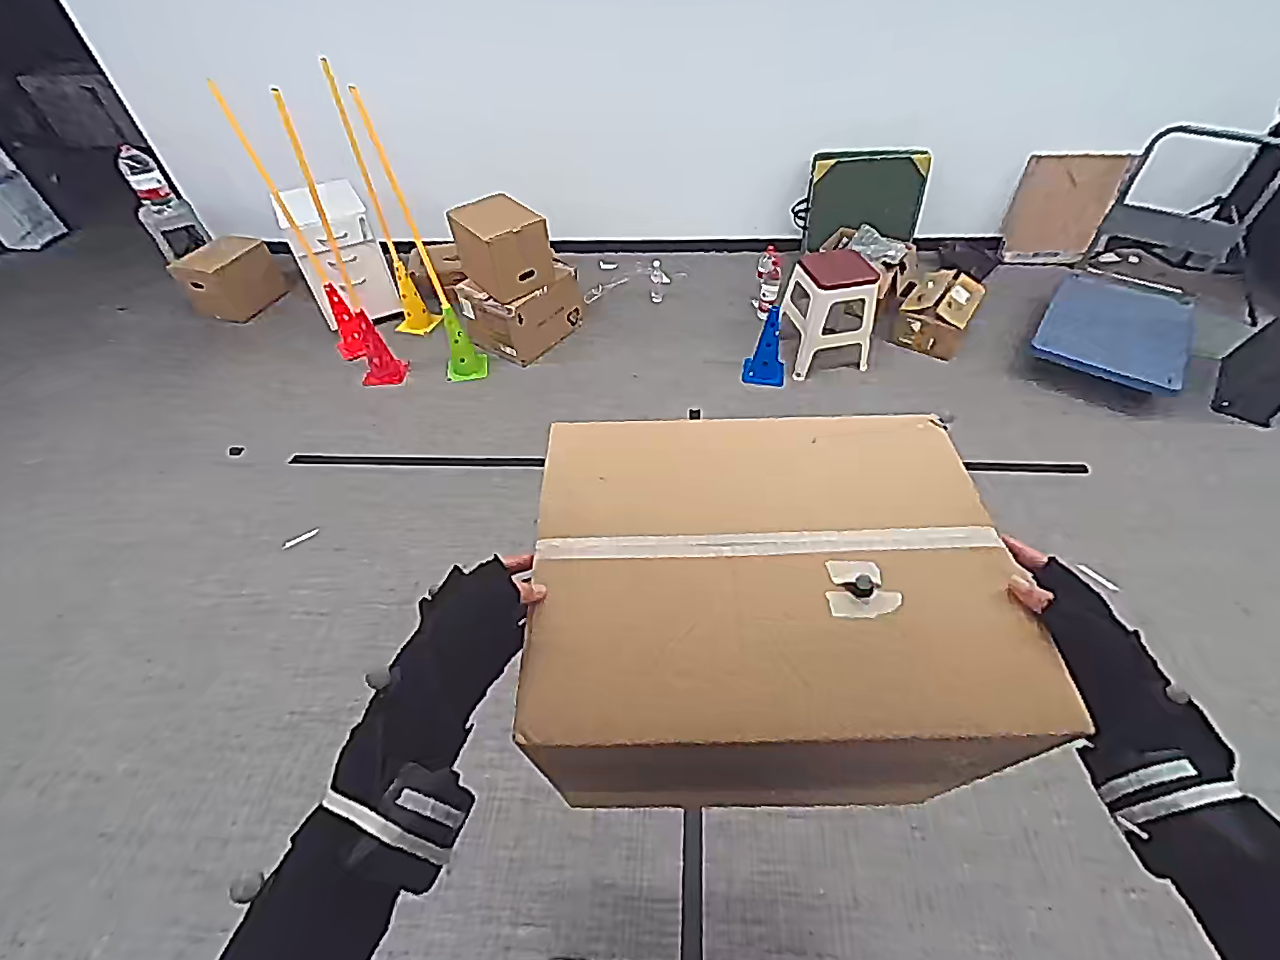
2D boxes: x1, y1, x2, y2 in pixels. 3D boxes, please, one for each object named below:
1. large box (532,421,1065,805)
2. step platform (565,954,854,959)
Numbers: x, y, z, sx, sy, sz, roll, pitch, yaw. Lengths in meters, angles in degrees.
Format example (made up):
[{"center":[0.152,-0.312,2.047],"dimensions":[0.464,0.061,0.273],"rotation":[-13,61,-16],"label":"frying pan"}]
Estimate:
[{"center":[0.113,0.155,0.602],"dimensions":[0.408,0.320,0.320],"rotation":[-1,52,0],"label":"large box"},{"center":[0.153,1.146,1.086],"dimensions":[0.684,0.204,0.286],"rotation":[0,48,1],"label":"step platform"}]
